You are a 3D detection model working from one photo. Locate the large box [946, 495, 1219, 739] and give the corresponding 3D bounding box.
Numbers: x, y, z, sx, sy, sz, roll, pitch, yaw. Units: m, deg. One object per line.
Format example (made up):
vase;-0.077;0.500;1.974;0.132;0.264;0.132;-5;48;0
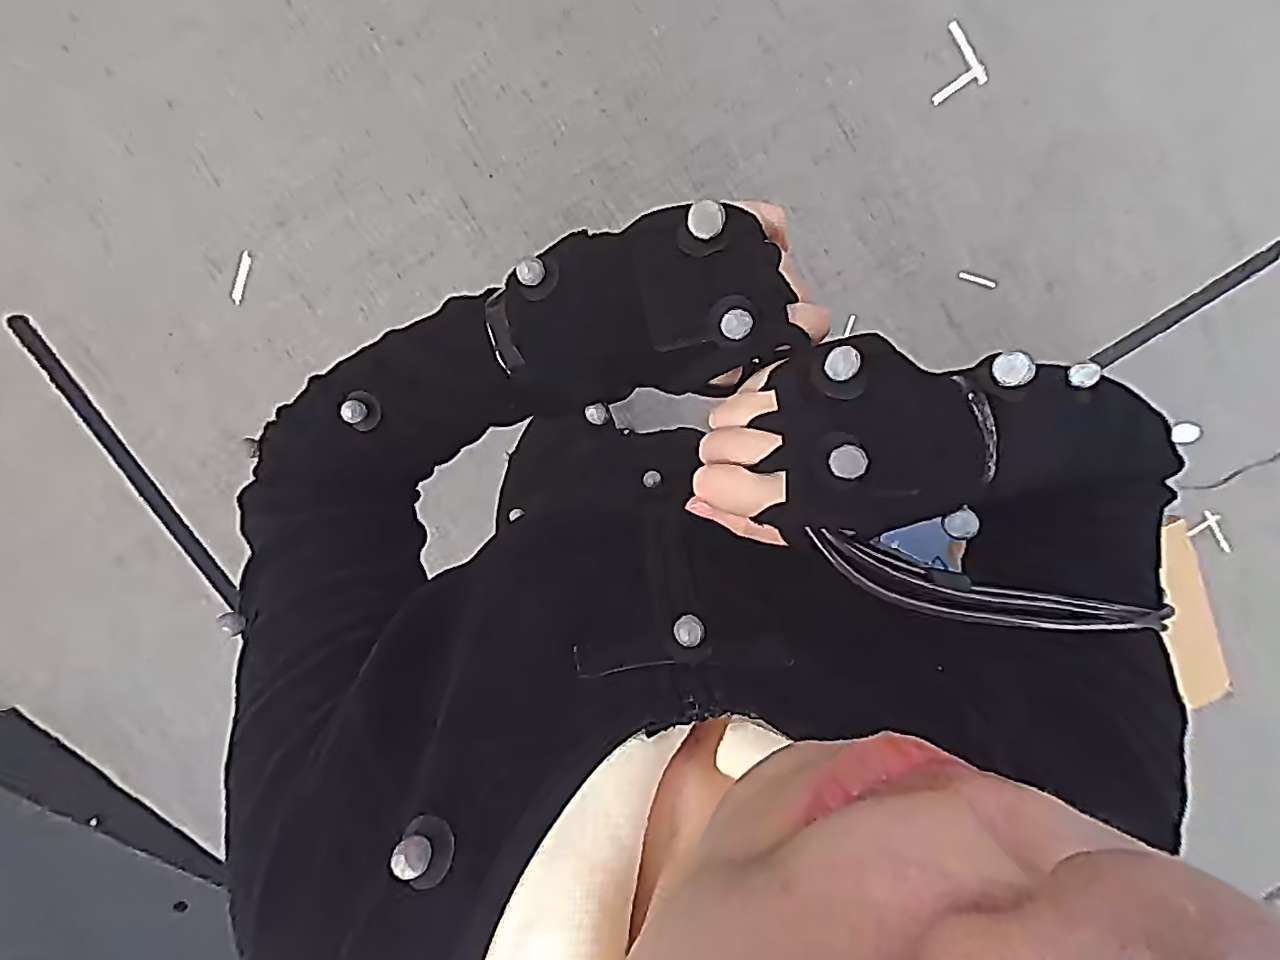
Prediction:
large box;0.995;0.289;1.255;0.320;0.320;0.408;-22;98;-1
